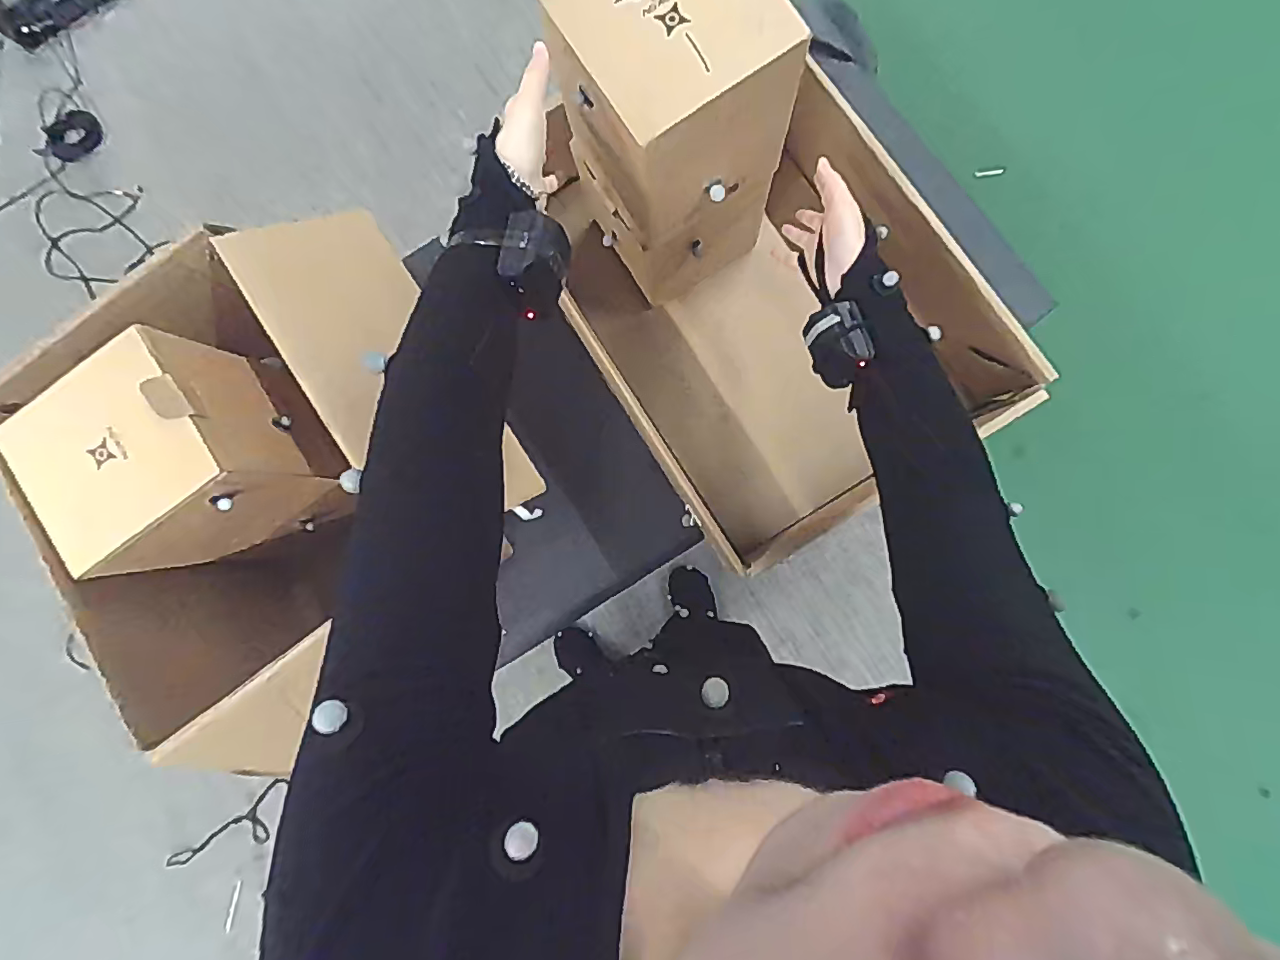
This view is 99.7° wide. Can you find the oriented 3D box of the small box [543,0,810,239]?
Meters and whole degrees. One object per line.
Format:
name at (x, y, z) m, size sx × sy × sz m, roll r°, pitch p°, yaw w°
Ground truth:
small box at (0.030, -0.378, 0.524) m, size 0.168 × 0.176 × 0.179 m, roll -32°, pitch 84°, yaw 2°
